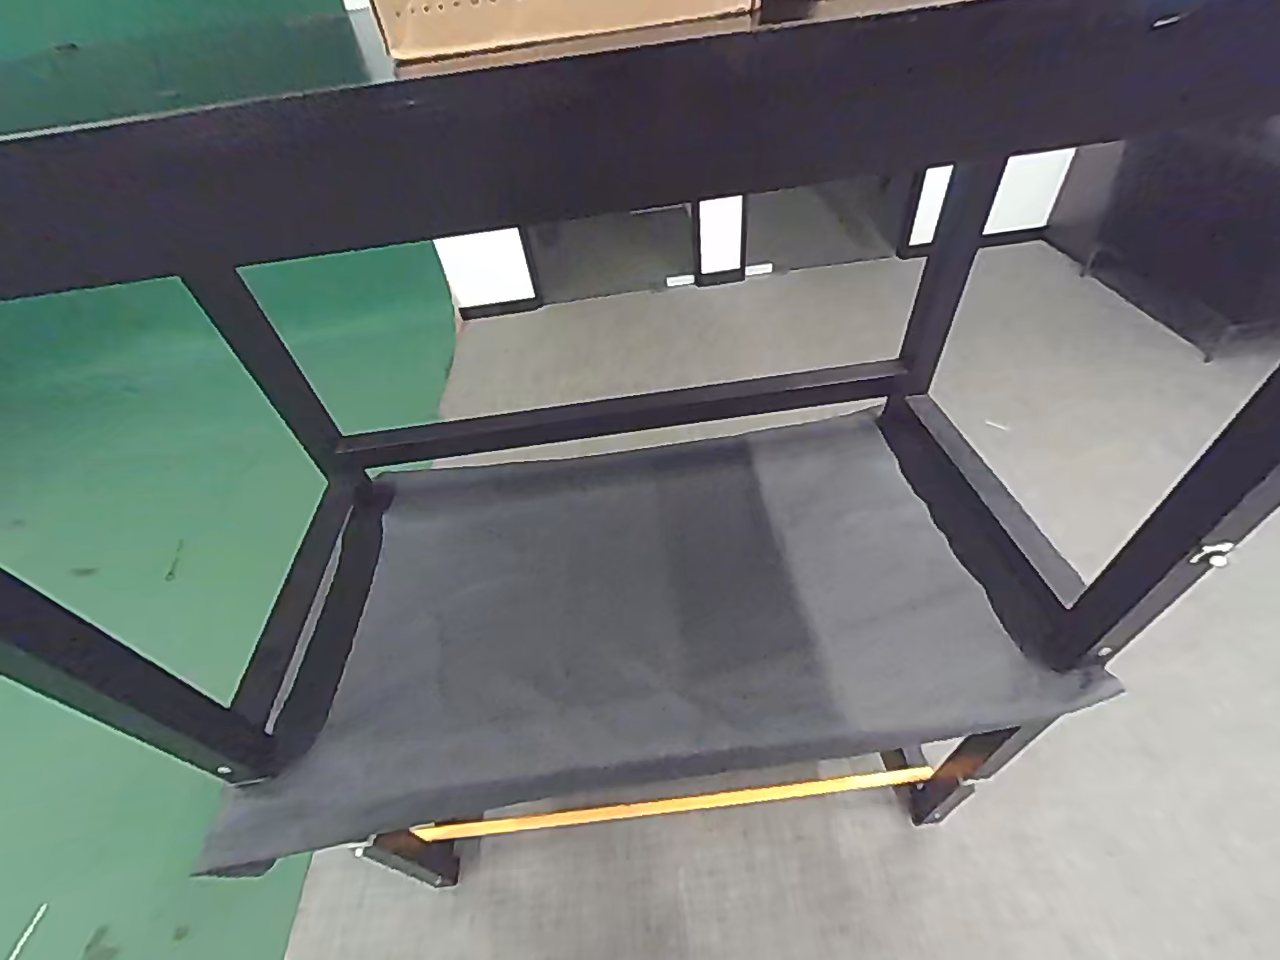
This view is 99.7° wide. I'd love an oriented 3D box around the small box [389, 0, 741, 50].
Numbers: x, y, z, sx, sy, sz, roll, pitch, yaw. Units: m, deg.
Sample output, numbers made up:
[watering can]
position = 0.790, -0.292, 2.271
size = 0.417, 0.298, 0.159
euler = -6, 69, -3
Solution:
[small box]
position = -0.046, -0.317, 0.248
size = 0.168, 0.176, 0.179
euler = -8, 45, 0
